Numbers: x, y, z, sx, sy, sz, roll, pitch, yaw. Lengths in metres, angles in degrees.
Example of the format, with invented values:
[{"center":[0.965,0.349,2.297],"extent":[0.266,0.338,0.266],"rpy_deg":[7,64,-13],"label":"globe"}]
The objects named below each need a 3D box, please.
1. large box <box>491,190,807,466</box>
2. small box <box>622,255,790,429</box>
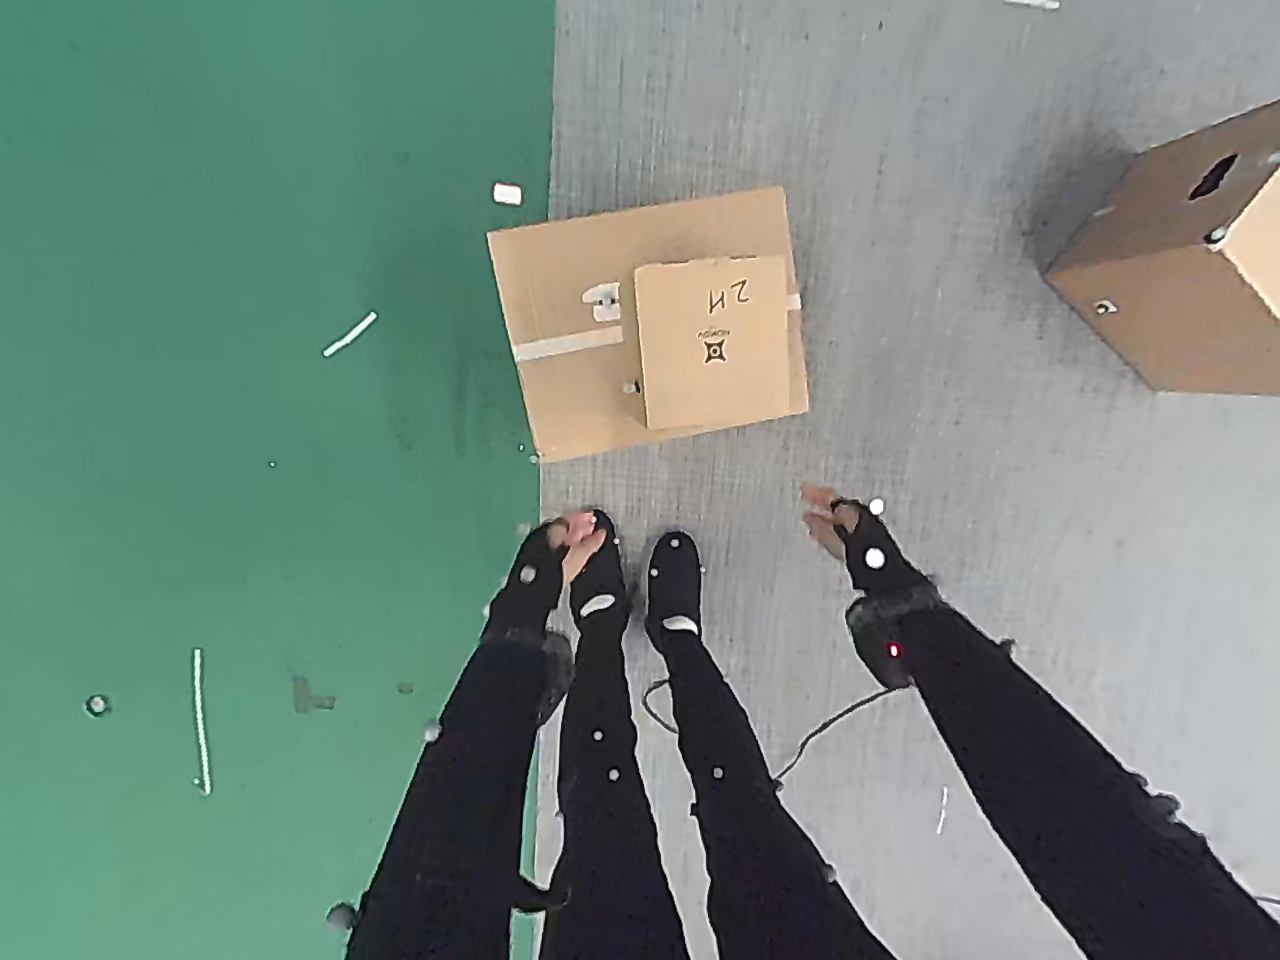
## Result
[{"center":[0.011,-0.234,0.893],"extent":[0.408,0.320,0.320],"rpy_deg":[-11,101,-4],"label":"large box"},{"center":[0.072,-0.164,0.660],"extent":[0.168,0.176,0.179],"rpy_deg":[-6,102,-8],"label":"small box"}]
